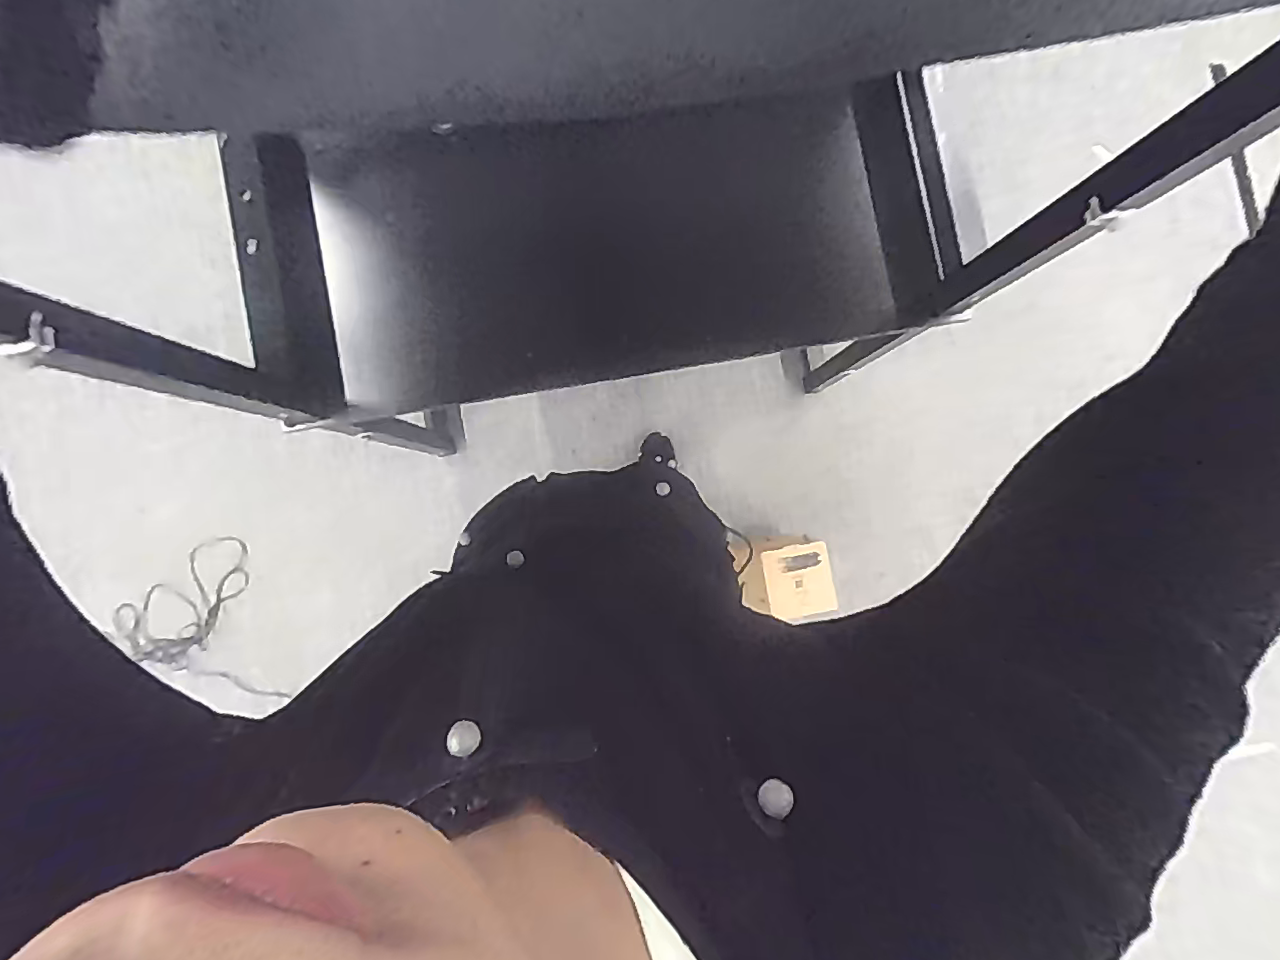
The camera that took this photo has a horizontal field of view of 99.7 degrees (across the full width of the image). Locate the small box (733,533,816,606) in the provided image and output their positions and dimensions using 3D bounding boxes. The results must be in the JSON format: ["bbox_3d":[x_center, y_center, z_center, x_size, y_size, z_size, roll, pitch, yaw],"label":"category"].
[{"bbox_3d":[0.382,0.251,1.561,0.179,0.176,0.168,-12,88,-1],"label":"small box"}]
